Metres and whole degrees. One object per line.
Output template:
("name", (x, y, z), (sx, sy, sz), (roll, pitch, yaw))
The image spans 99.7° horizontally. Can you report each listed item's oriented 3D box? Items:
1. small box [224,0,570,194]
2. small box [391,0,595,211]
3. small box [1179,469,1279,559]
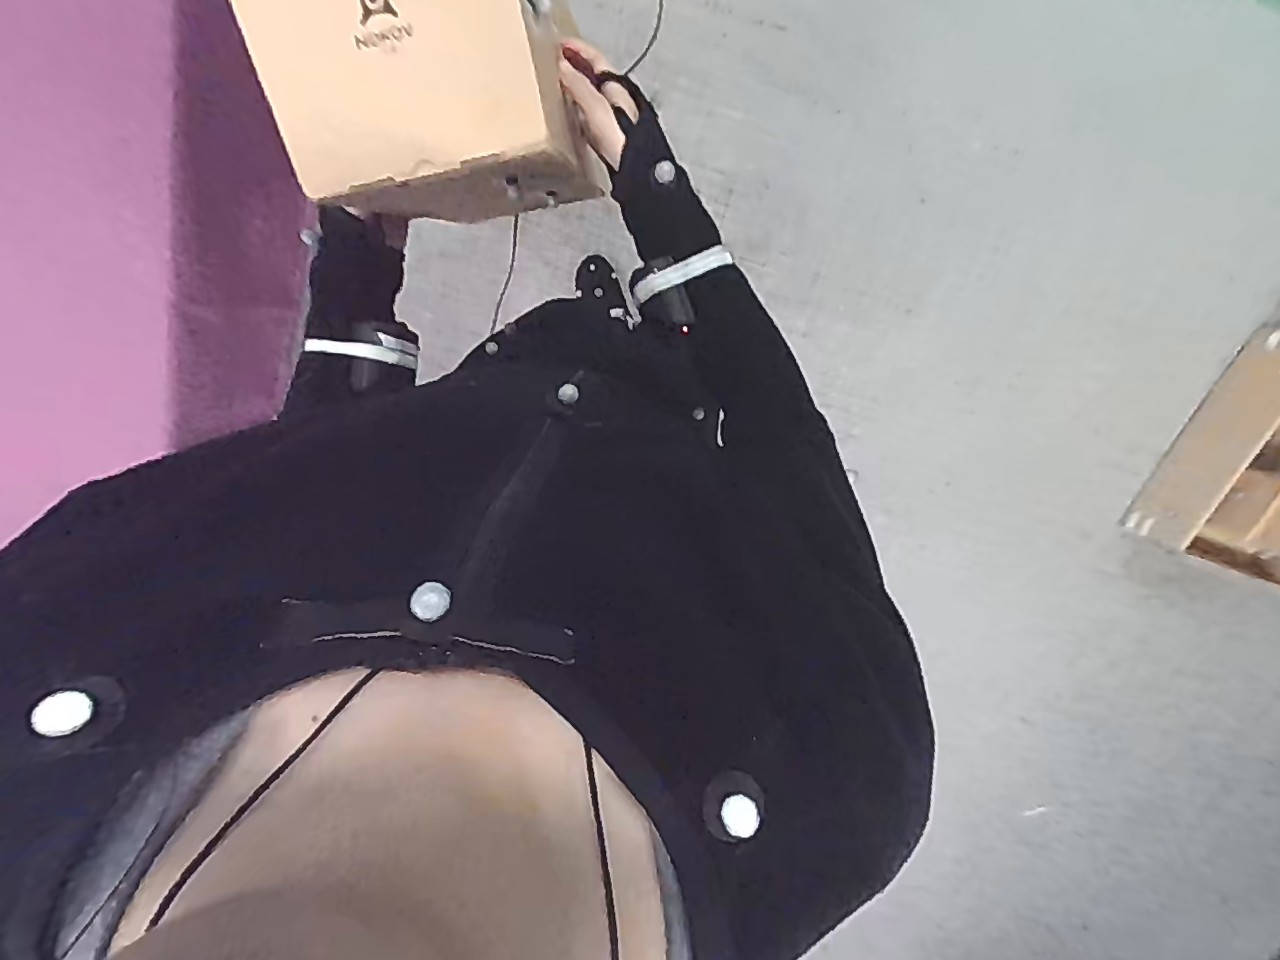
("small box", (-0.155, -0.314, 0.381), (0.168, 0.176, 0.179), (-9, 111, 5))
("small box", (-0.153, -0.374, 0.532), (0.179, 0.176, 0.168), (-9, 112, 6))
("small box", (1.641, 0.087, 1.463), (0.168, 0.176, 0.179), (17, 107, -6))
